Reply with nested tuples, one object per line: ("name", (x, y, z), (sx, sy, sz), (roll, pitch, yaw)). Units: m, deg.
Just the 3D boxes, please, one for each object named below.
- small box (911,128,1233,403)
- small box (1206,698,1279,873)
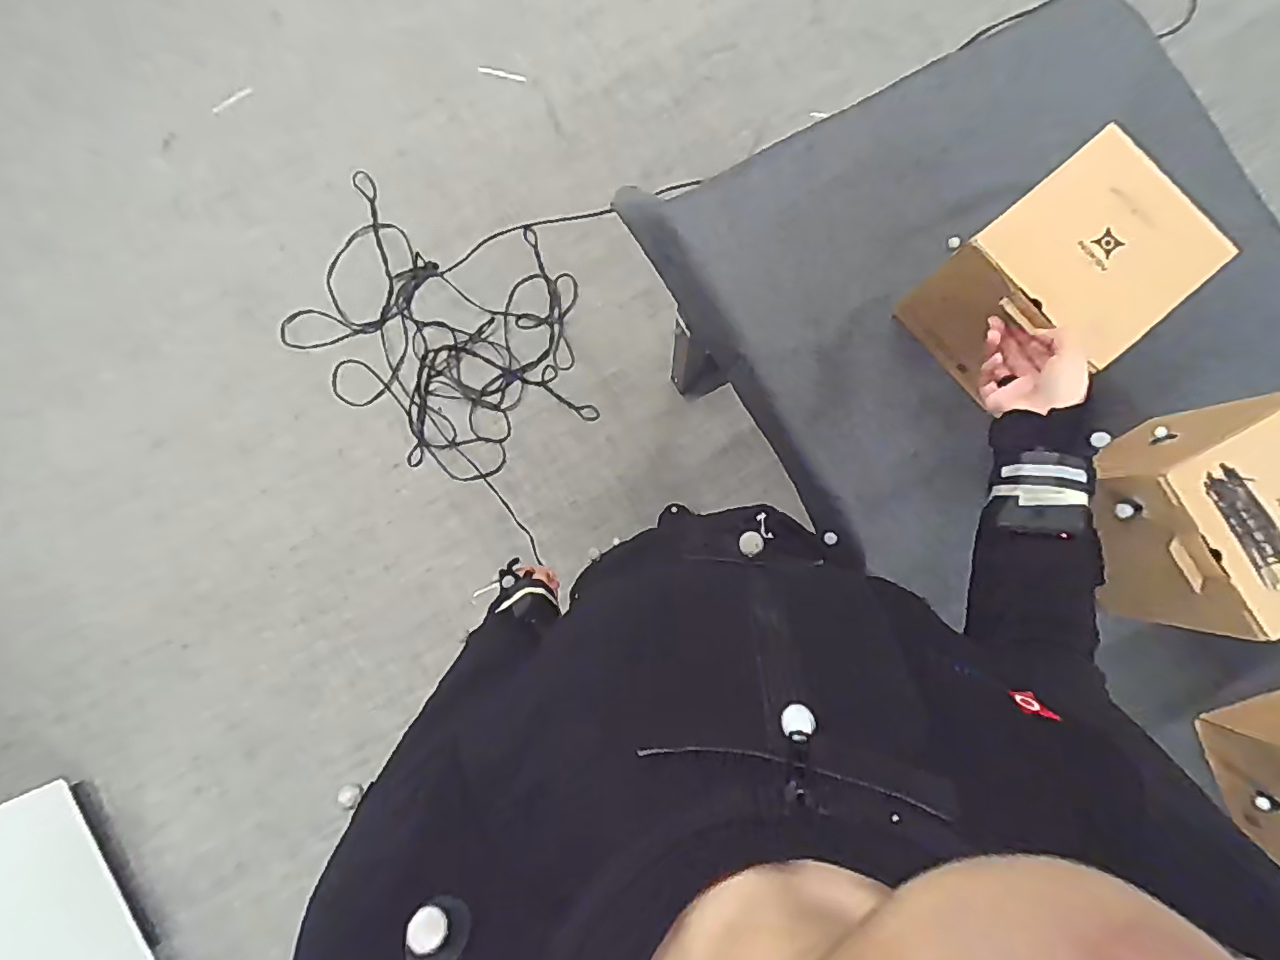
("small box", (0.422, -0.204, 0.570), (0.179, 0.176, 0.168), (-40, 87, -3))
("small box", (0.730, 0.312, 0.518), (0.179, 0.176, 0.168), (-18, 85, 1))
